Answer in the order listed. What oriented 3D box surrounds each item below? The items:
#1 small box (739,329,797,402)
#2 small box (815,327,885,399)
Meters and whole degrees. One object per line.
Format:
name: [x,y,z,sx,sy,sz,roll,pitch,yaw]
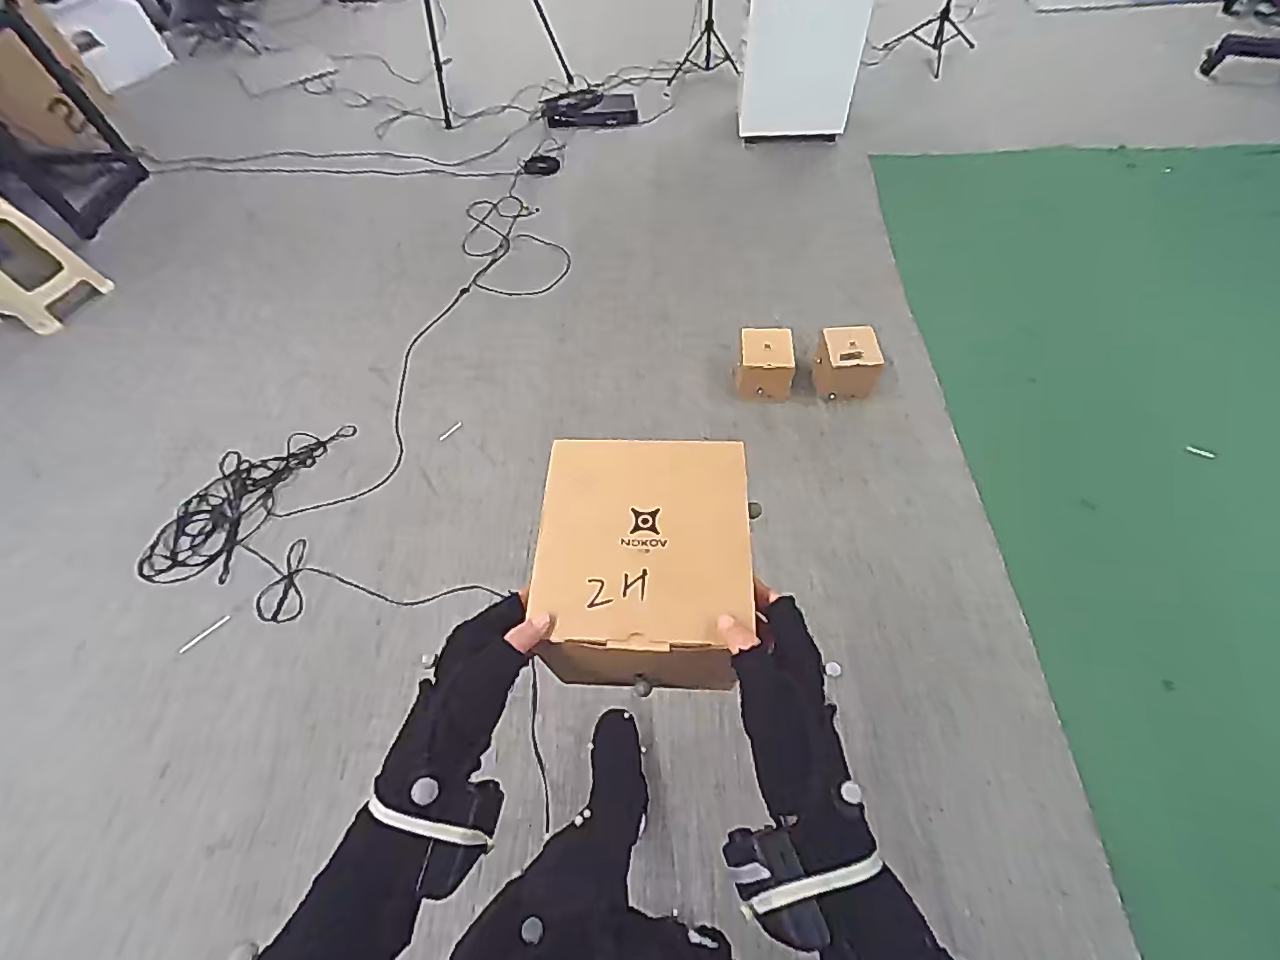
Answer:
small box: [0.424,-0.385,1.820,0.168,0.176,0.179,1,58,4]
small box: [0.693,-0.384,1.801,0.168,0.176,0.179,-1,57,3]
